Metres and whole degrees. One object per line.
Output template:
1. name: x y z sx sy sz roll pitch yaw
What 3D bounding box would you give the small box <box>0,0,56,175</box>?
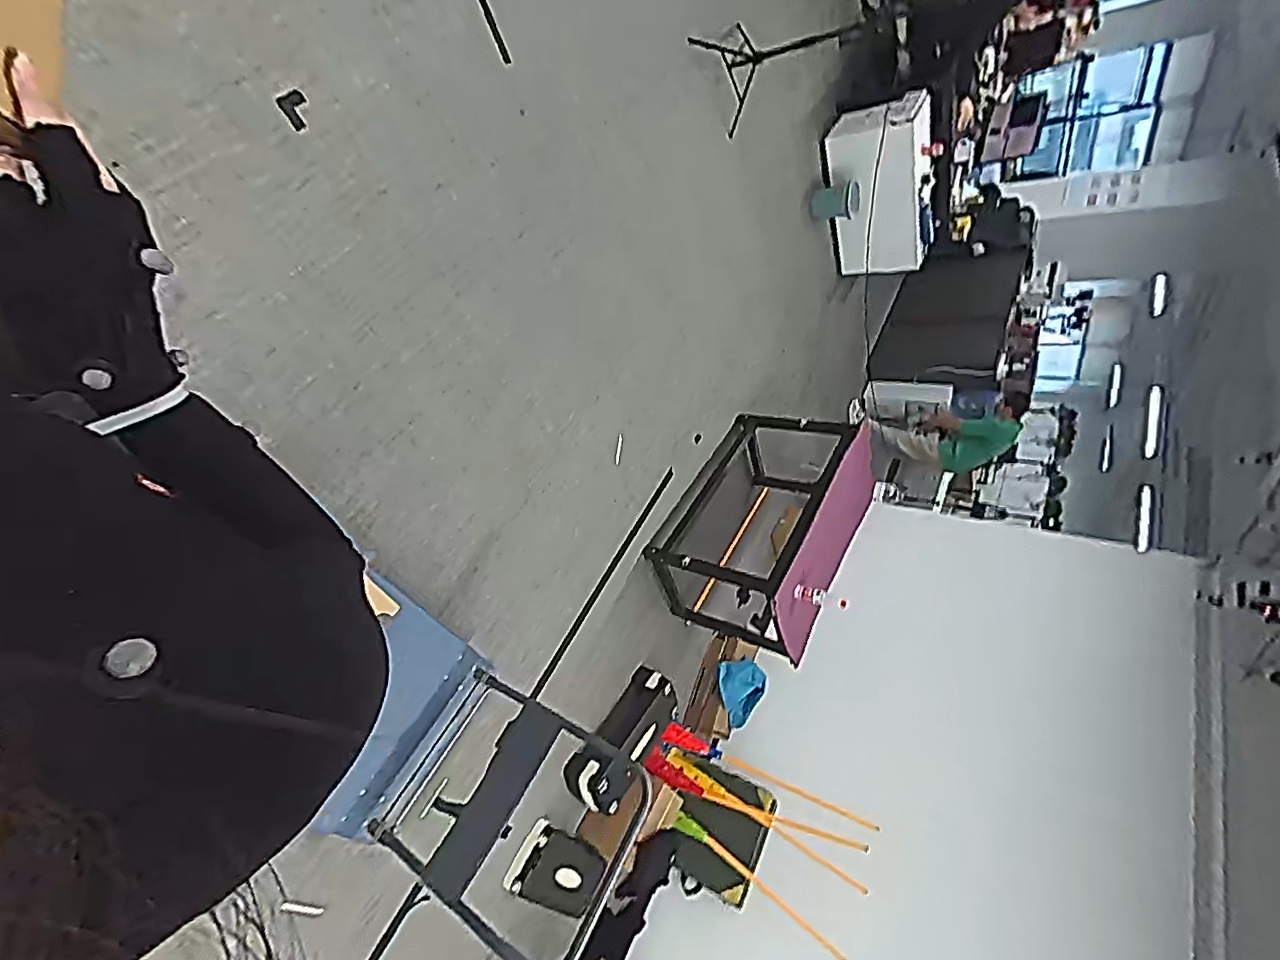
1. small box: -0.414 -0.262 0.230 0.168 0.179 0.176 137 -52 -81
